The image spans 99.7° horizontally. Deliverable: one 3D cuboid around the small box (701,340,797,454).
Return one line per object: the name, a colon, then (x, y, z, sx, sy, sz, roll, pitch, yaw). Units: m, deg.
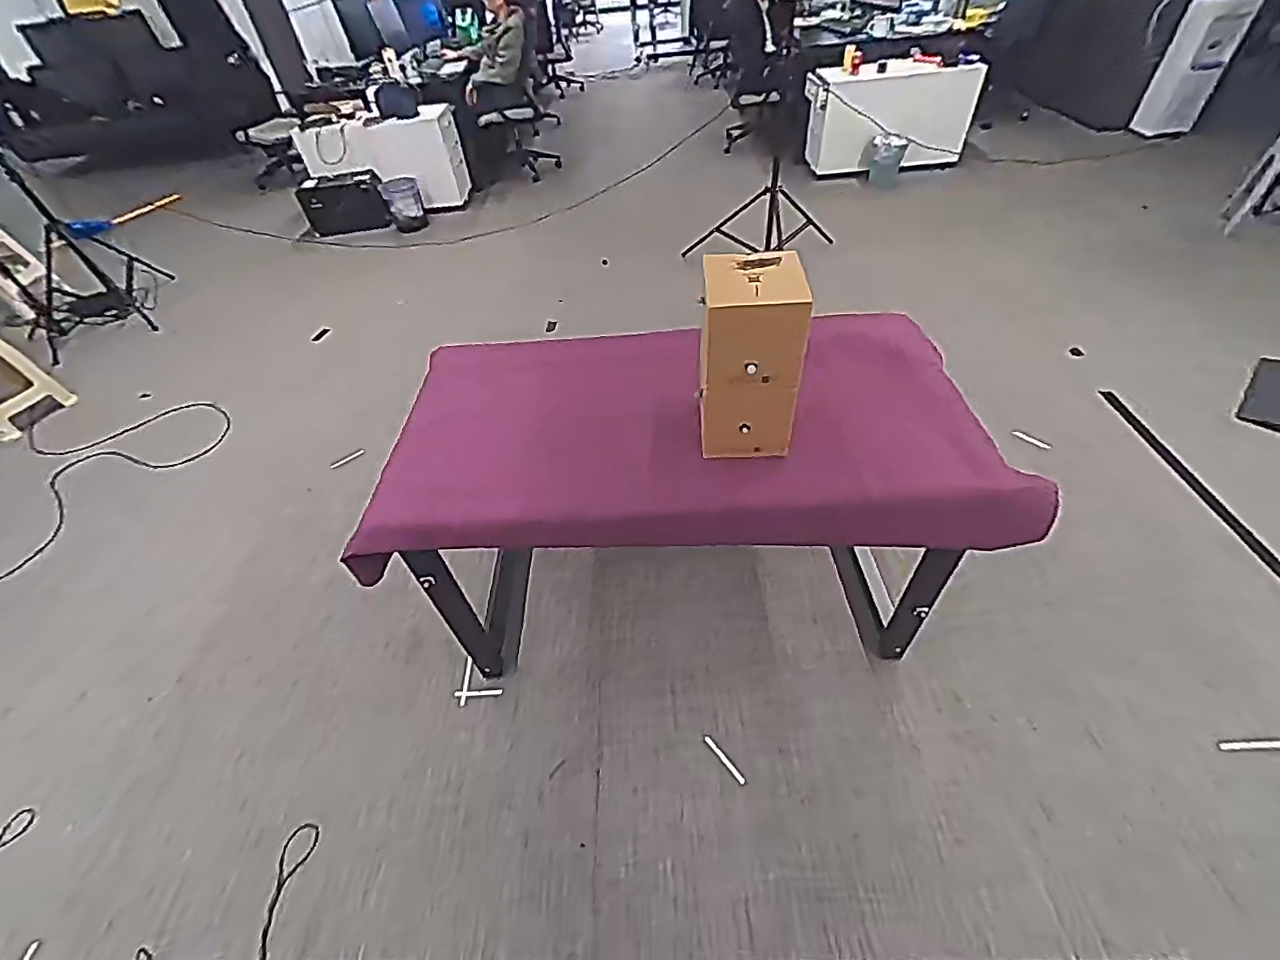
small box: (0.207, -0.163, 1.071, 0.168, 0.176, 0.179, -1, 47, 4)

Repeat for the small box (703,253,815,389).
small box: (0.198, -0.278, 0.954, 0.168, 0.176, 0.179, -1, 47, 5)
